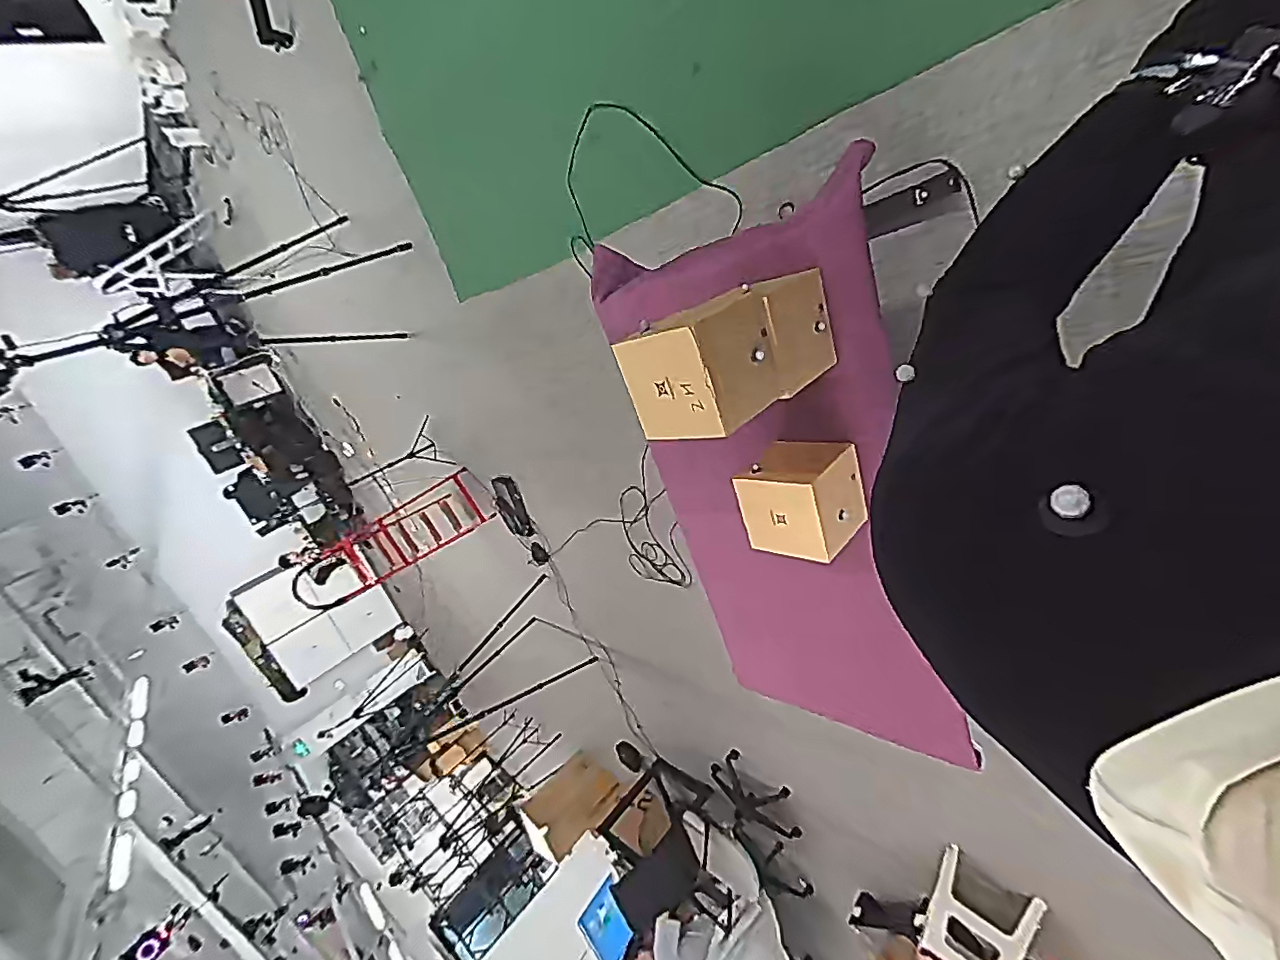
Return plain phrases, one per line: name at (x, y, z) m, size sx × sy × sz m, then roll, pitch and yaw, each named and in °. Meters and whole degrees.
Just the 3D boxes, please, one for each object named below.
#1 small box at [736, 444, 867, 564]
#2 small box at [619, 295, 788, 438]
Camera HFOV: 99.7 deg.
small box at (0.322, 0.038, 1.052) m, size 0.179 × 0.176 × 0.168 m, roll 6°, pitch 122°, yaw 49°
small box at (0.102, -0.175, 0.849) m, size 0.179 × 0.176 × 0.168 m, roll 4°, pitch 122°, yaw 49°
